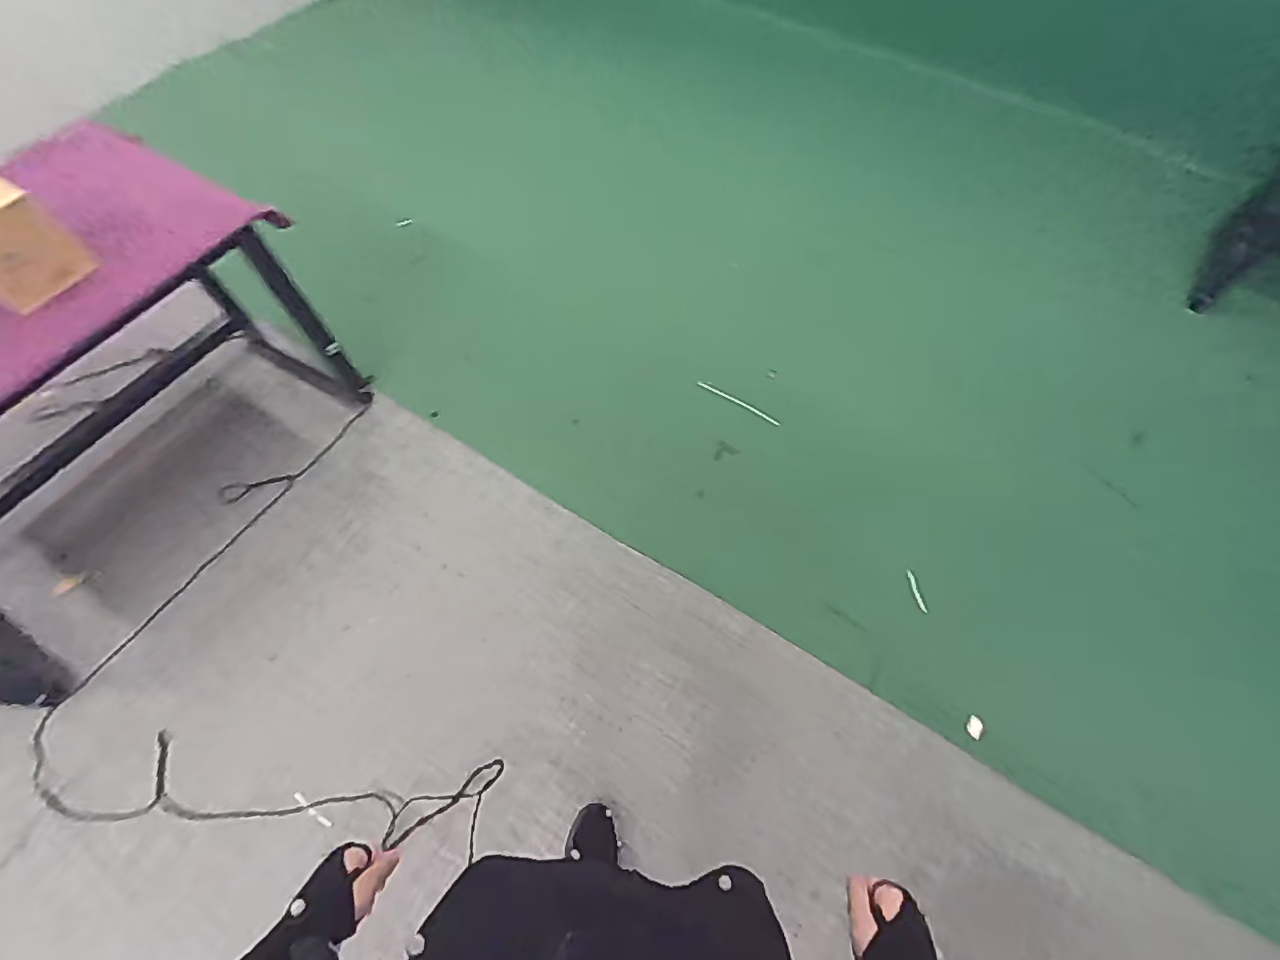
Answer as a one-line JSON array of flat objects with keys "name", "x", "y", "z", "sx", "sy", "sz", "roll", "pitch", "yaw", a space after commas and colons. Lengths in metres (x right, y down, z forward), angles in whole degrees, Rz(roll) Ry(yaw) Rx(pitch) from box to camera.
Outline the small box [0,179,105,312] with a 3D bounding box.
[{"name": "small box", "x": -1.232, "y": -0.461, "z": 1.060, "sx": 0.179, "sy": 0.176, "sz": 0.168, "roll": 27, "pitch": 66, "yaw": 14}]
